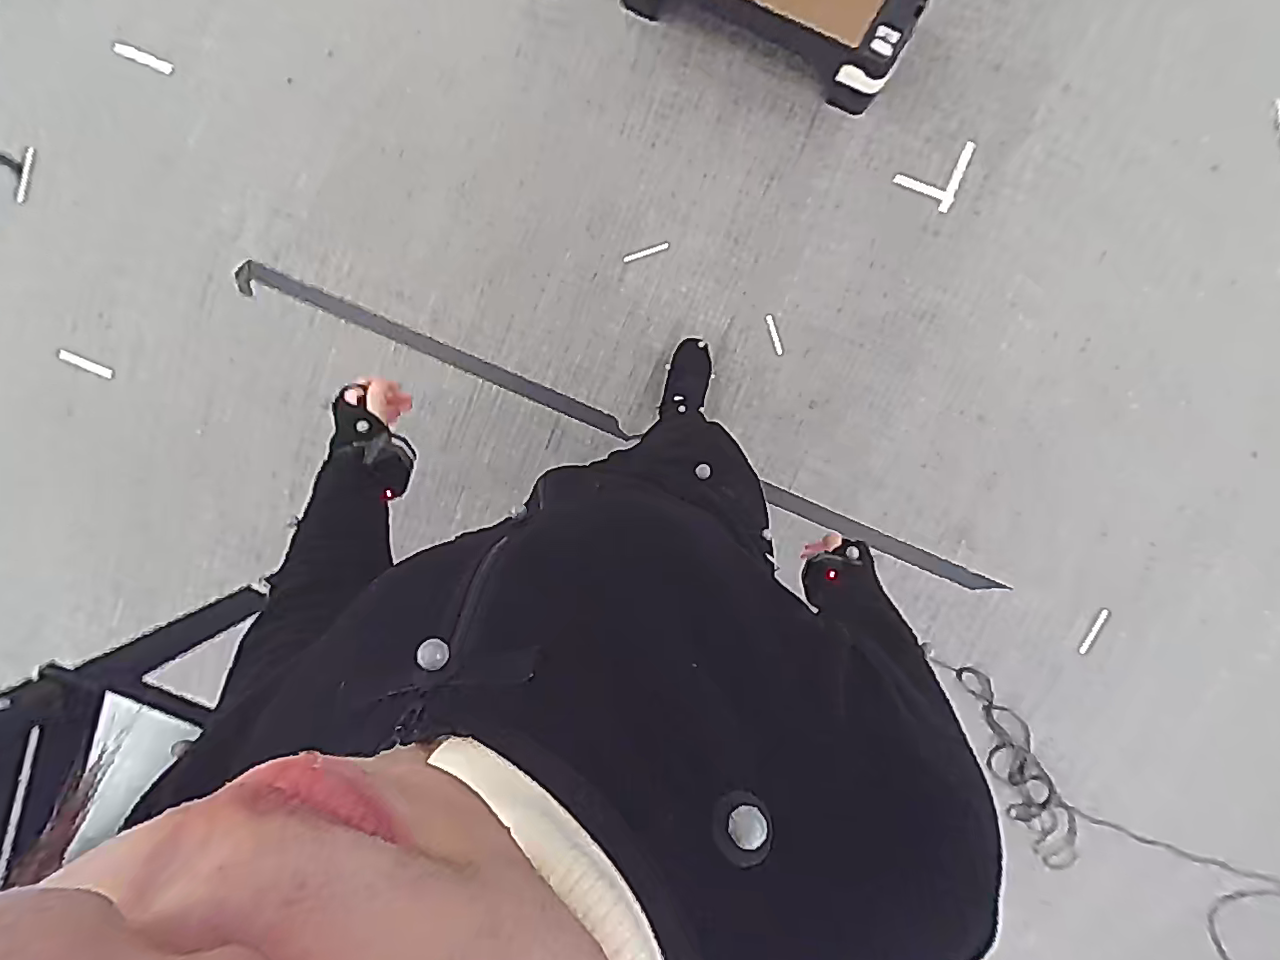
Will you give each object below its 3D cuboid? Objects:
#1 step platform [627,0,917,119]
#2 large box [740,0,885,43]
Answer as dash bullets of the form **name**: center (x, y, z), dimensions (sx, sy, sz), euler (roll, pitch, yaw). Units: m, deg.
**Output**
- **step platform**: center (0.277, -1.141, 1.211), dimensions (0.684, 0.204, 0.286), euler (28, 98, -1)
- **large box**: center (0.326, -1.104, 0.974), dimensions (0.408, 0.320, 0.320), euler (23, 98, 0)
